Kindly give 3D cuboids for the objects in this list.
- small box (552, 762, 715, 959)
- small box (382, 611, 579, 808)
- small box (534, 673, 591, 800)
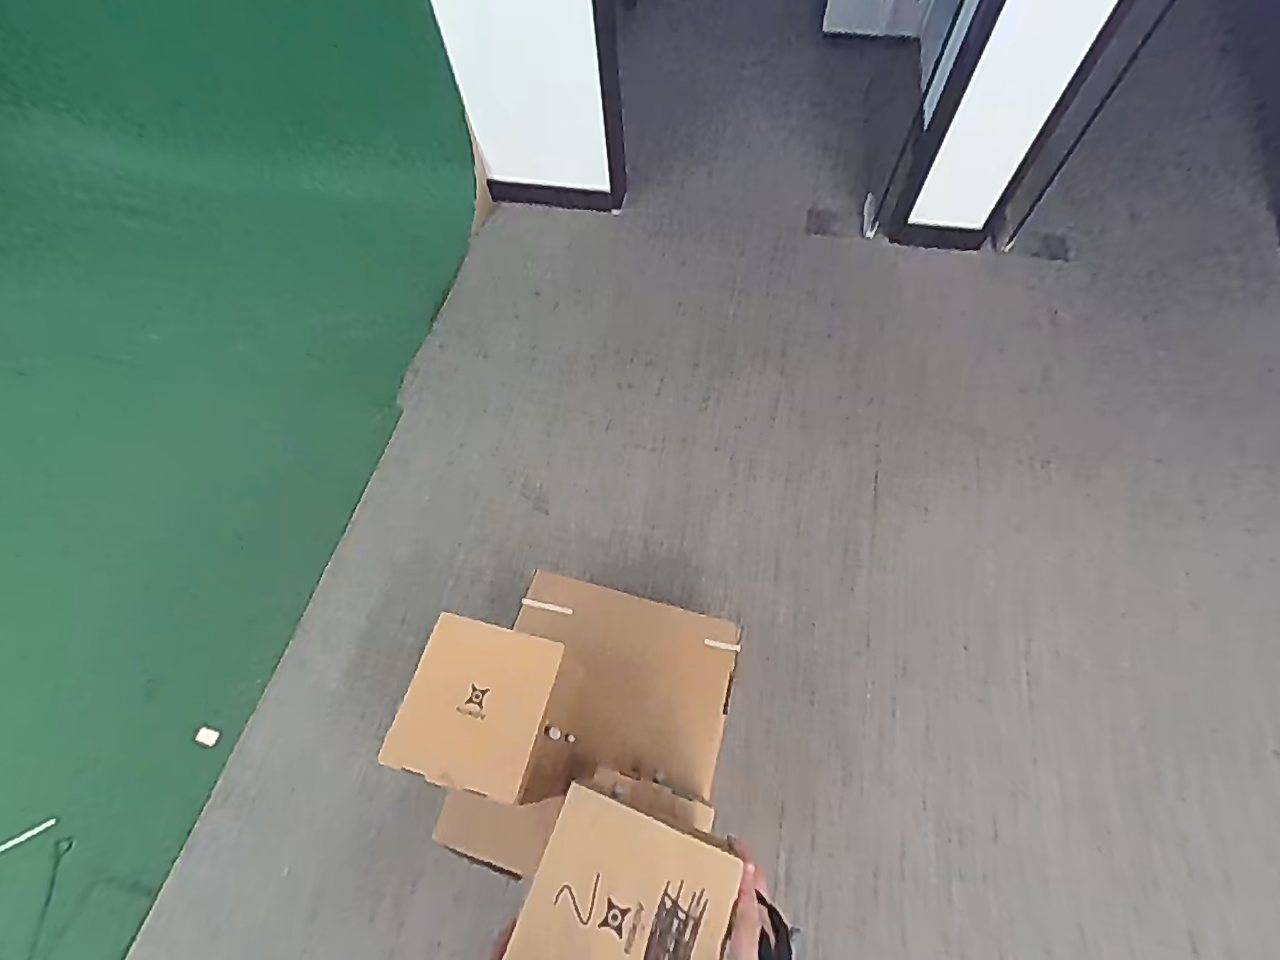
[{"bbox_3d":[-0.004,0.513,0.747,0.168,0.176,0.179,15,62,10],"label":"small box"},{"bbox_3d":[-0.184,0.291,0.692,0.168,0.176,0.179,14,64,10],"label":"small box"},{"bbox_3d":[-0.183,0.371,0.835,0.168,0.176,0.179,13,62,10],"label":"small box"}]
